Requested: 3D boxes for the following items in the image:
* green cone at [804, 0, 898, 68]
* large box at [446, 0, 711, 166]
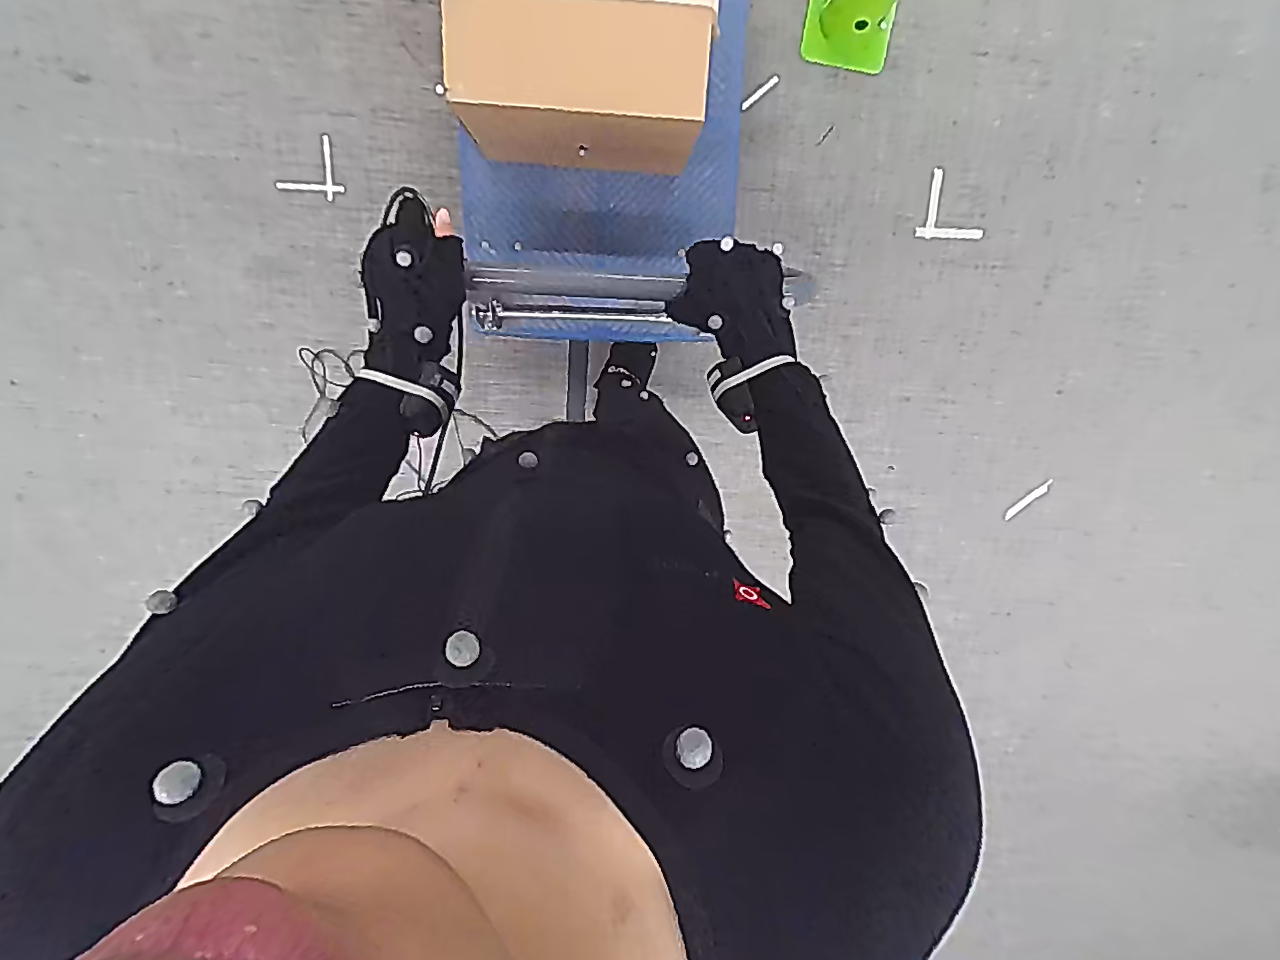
[{"bbox_3d":[0.493,-1.017,1.059,0.202,0.368,0.200,7,105,-6],"label":"green cone"},{"bbox_3d":[-0.094,-0.767,0.946,0.408,0.320,0.320,2,105,-3],"label":"large box"}]
